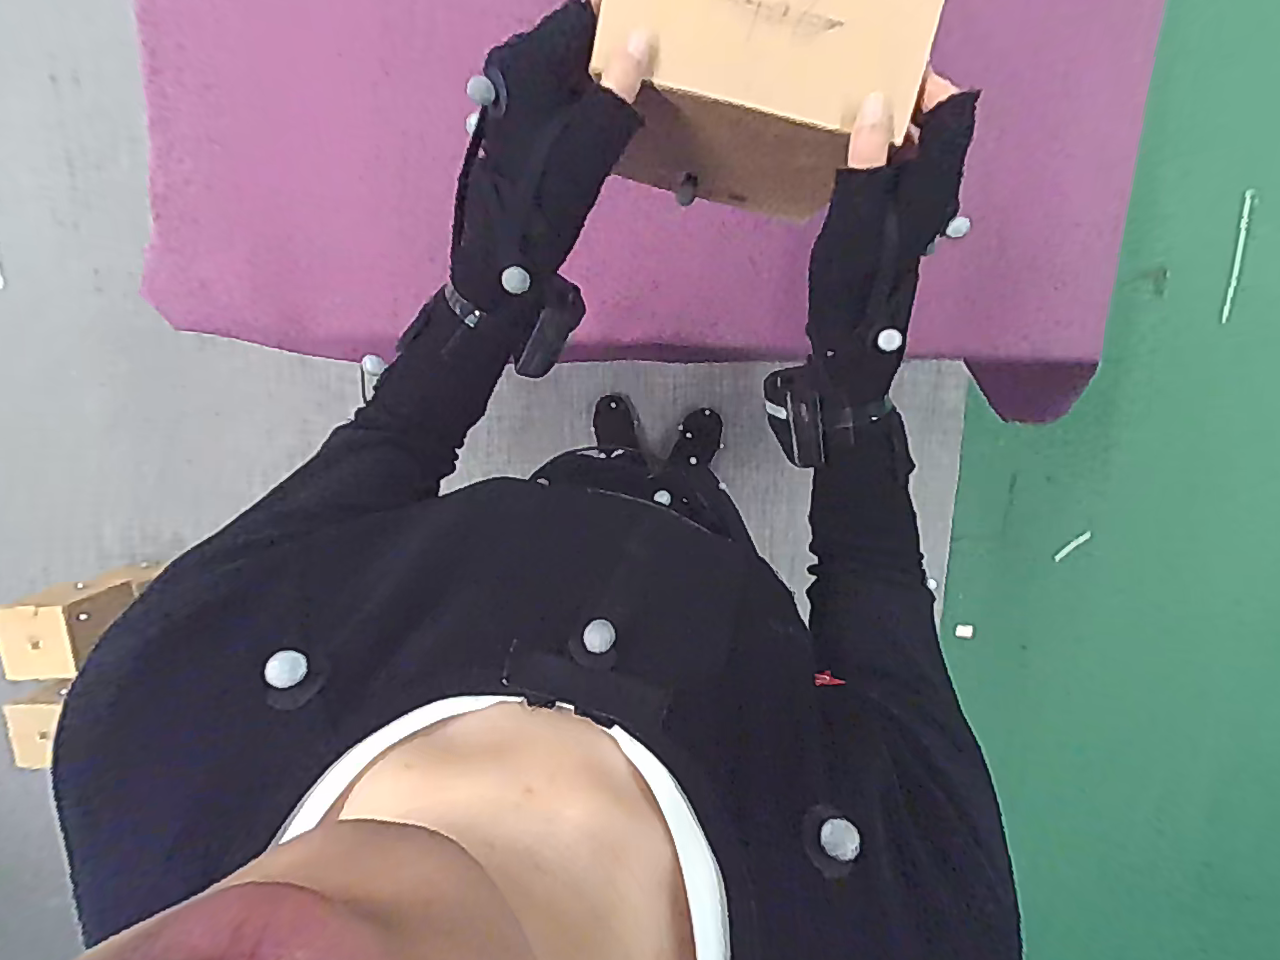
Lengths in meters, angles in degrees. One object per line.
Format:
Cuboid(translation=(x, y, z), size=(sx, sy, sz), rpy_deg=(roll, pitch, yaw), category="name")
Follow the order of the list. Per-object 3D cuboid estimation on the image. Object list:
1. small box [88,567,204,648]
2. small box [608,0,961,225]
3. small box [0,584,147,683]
Cuboid(translation=(-1.340, 0.340, 1.461), size=(0.179, 0.176, 0.168), rpy_deg=(-2, 101, 1), category="small box")
Cuboid(translation=(0.079, -0.284, 0.334), size=(0.168, 0.176, 0.179), rpy_deg=(12, 103, -3), category="small box")
Cuboid(translation=(-1.345, 0.364, 1.299), size=(0.168, 0.176, 0.179), rpy_deg=(-3, 100, 0), category="small box")
